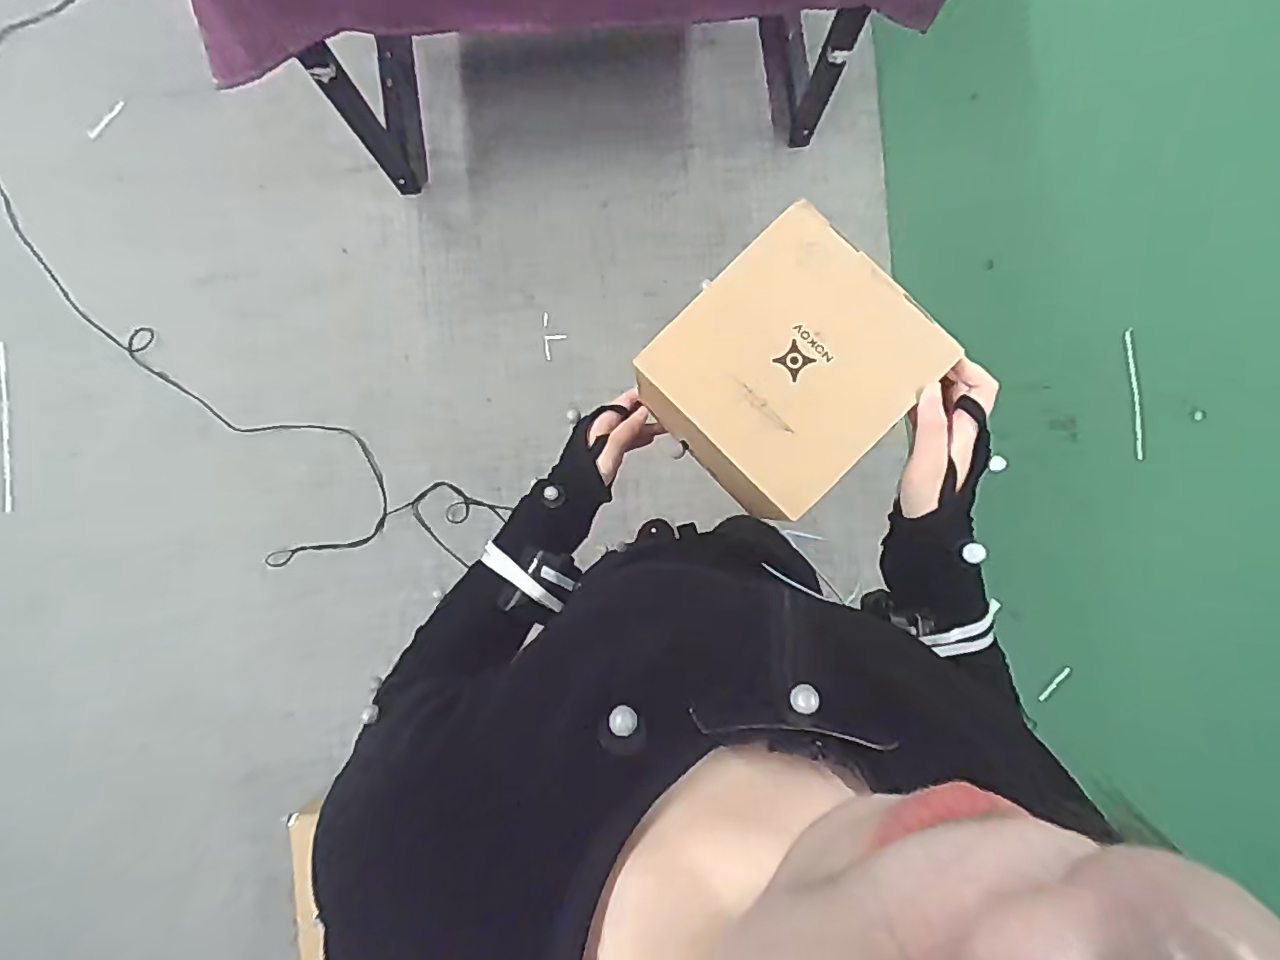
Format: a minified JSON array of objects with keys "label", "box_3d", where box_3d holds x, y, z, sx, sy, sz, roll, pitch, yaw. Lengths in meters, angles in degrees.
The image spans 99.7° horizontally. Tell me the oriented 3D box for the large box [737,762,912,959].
[{"label":"large box","box_3d":[0.441,0.979,1.327,0.320,0.320,0.408,-5,89,-1]}]
